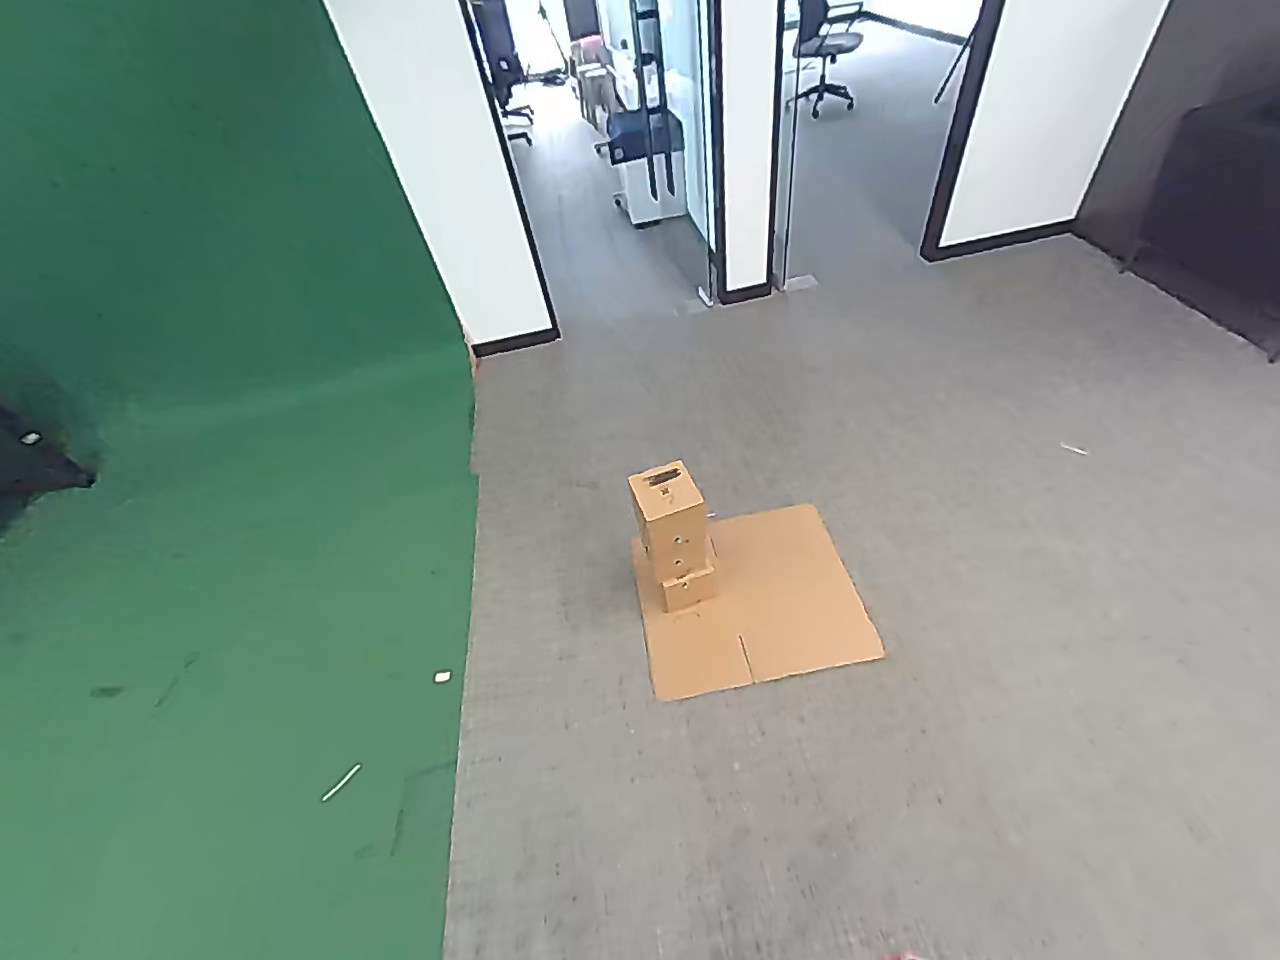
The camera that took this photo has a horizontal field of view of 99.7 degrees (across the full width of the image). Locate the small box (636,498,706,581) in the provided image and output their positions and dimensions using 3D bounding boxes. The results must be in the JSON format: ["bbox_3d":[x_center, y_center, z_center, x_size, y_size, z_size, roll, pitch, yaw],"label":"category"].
[{"bbox_3d":[0.098,0.189,1.658,0.168,0.176,0.179,-16,46,-5],"label":"small box"}]

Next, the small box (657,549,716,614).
[{"bbox_3d":[0.142,0.307,1.767,0.168,0.176,0.179,-17,46,-5],"label":"small box"}]
